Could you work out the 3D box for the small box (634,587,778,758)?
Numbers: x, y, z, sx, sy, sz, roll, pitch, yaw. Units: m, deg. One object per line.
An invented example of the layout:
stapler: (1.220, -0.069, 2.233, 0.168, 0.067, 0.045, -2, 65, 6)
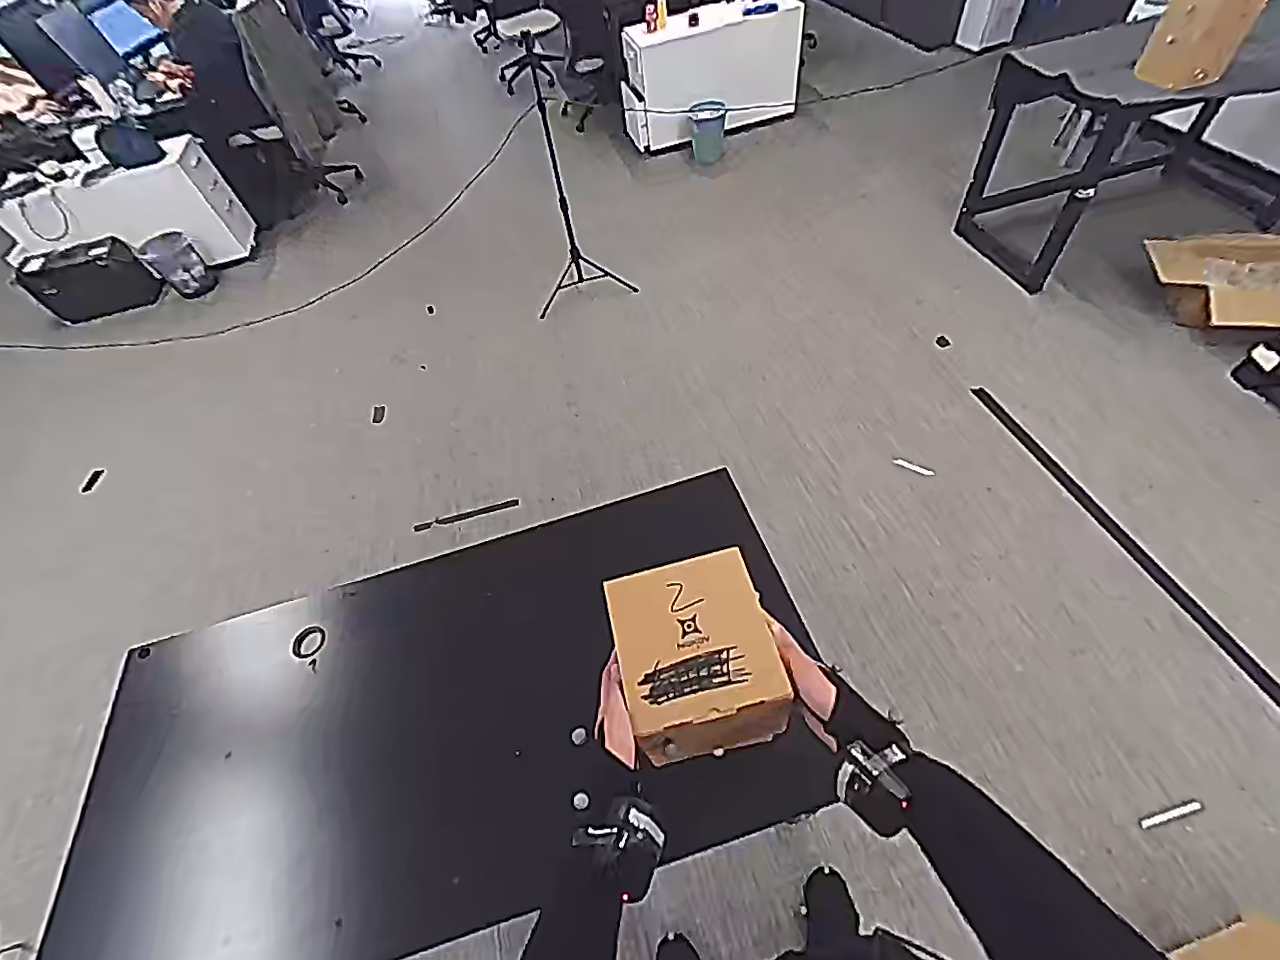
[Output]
small box: (0.091, 0.282, 0.785, 0.168, 0.176, 0.179, -12, 53, 2)
